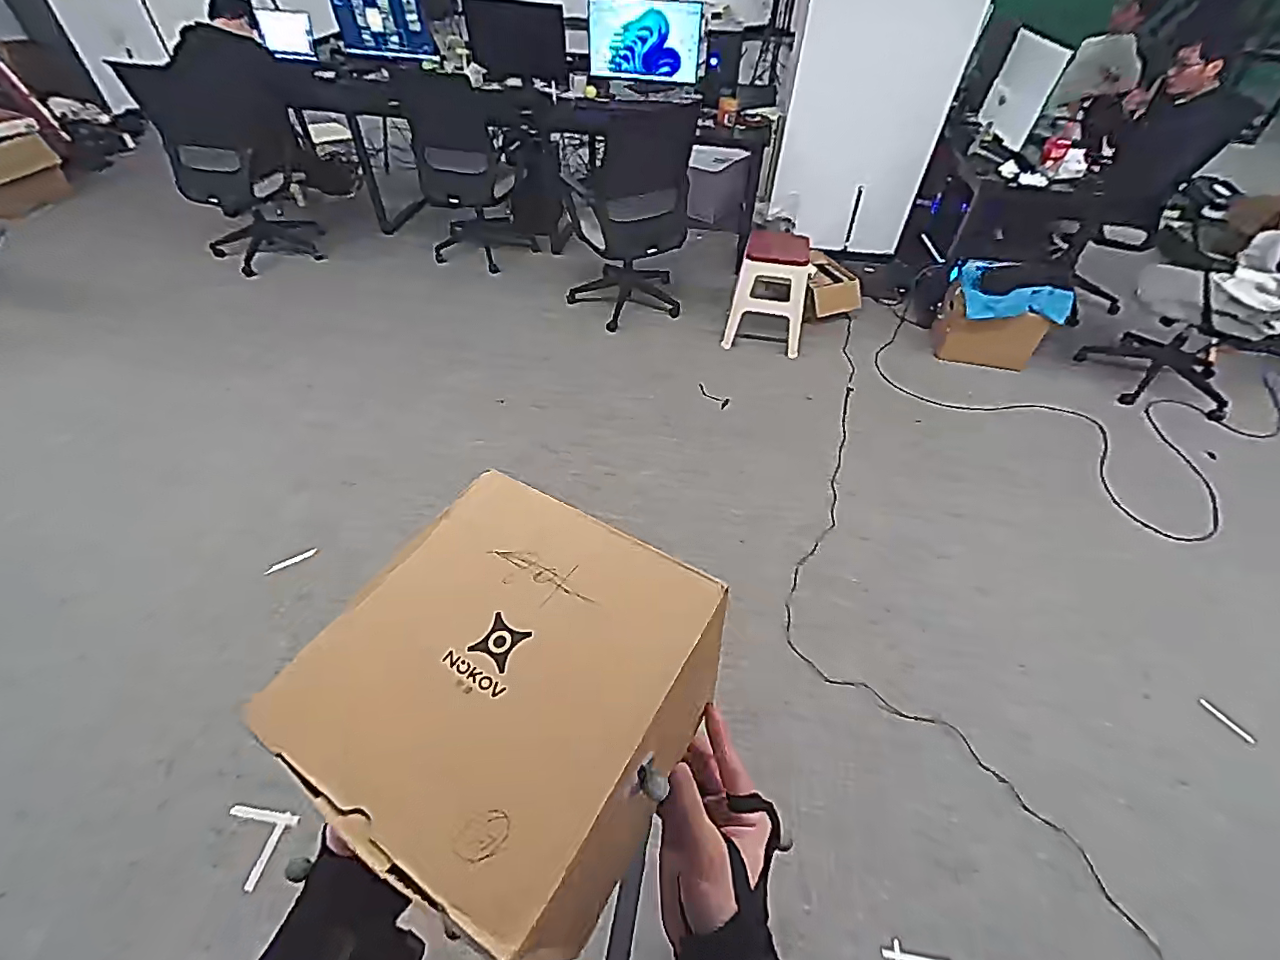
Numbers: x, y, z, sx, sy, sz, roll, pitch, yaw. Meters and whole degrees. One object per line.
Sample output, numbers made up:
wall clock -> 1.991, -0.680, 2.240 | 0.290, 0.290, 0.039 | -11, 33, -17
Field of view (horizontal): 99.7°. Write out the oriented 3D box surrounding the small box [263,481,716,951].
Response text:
small box -> -0.064, 0.138, 0.333 | 0.168, 0.176, 0.179 | 23, 55, 21
